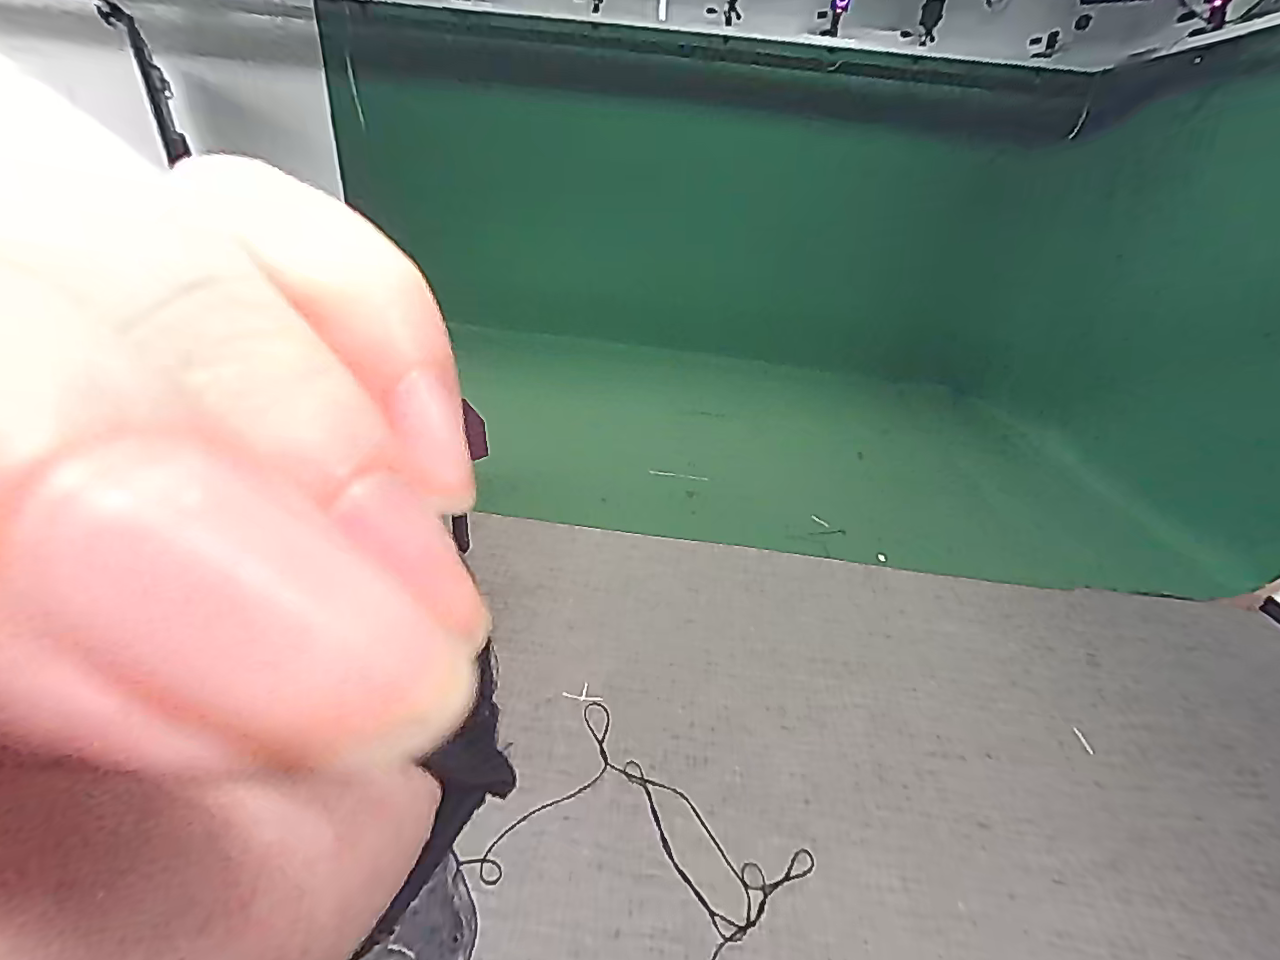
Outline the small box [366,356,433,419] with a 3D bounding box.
[{"bbox_3d":[-0.870,-0.339,1.973,0.168,0.176,0.179,7,30,2],"label":"small box"}]
